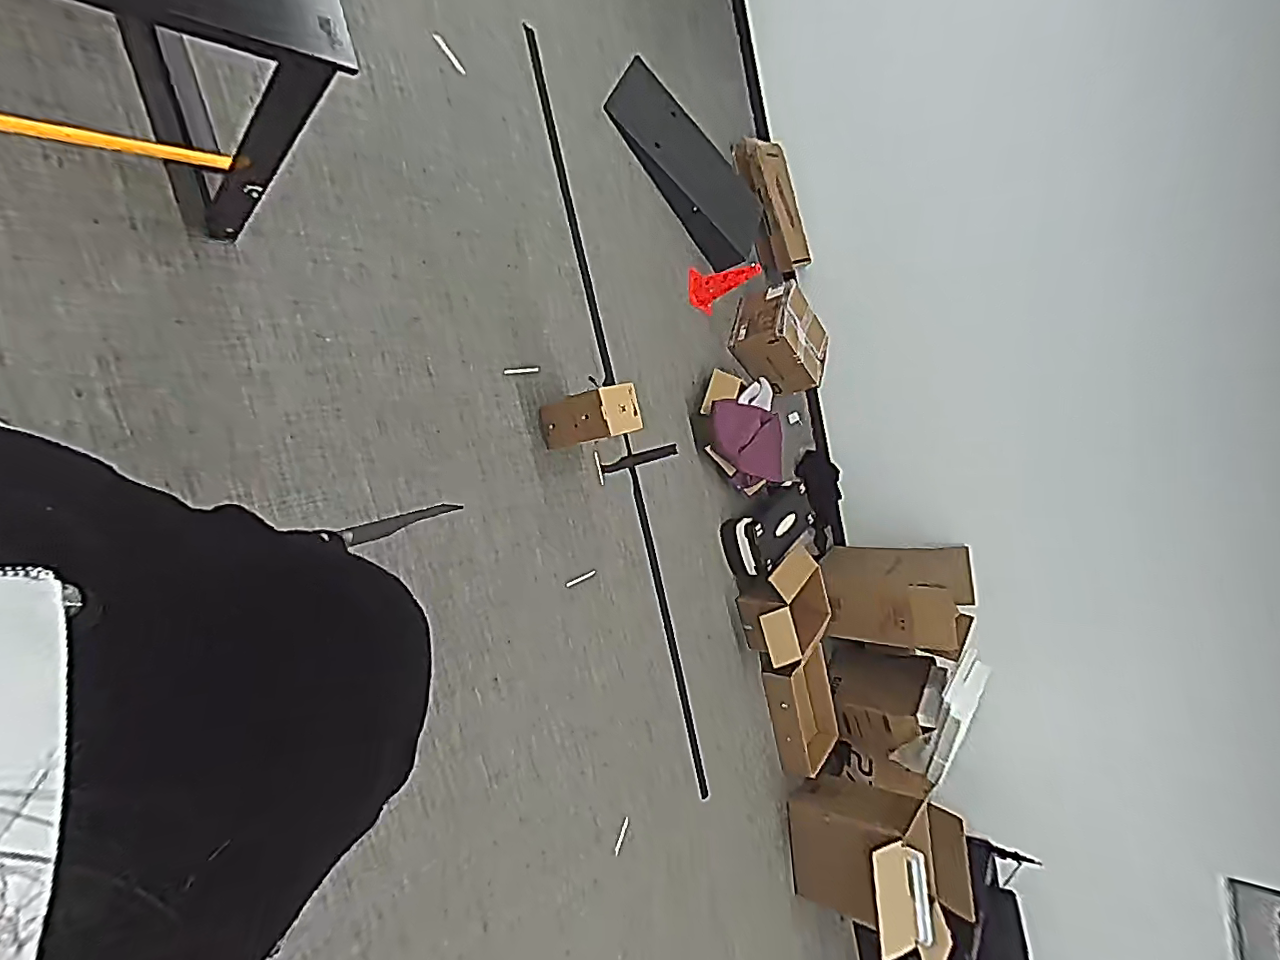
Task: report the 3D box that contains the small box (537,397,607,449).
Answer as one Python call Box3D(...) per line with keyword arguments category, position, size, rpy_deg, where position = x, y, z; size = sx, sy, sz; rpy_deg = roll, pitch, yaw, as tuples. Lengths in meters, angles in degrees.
Box3D(category="small box", position=(-0.250, -0.214, 1.988), size=(0.179, 0.176, 0.168), rpy_deg=(-18, 97, -48))

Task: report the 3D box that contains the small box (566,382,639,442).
Box3D(category="small box", position=(-0.137, -0.234, 1.871), size=(0.179, 0.176, 0.168), rpy_deg=(-20, 99, -47))
